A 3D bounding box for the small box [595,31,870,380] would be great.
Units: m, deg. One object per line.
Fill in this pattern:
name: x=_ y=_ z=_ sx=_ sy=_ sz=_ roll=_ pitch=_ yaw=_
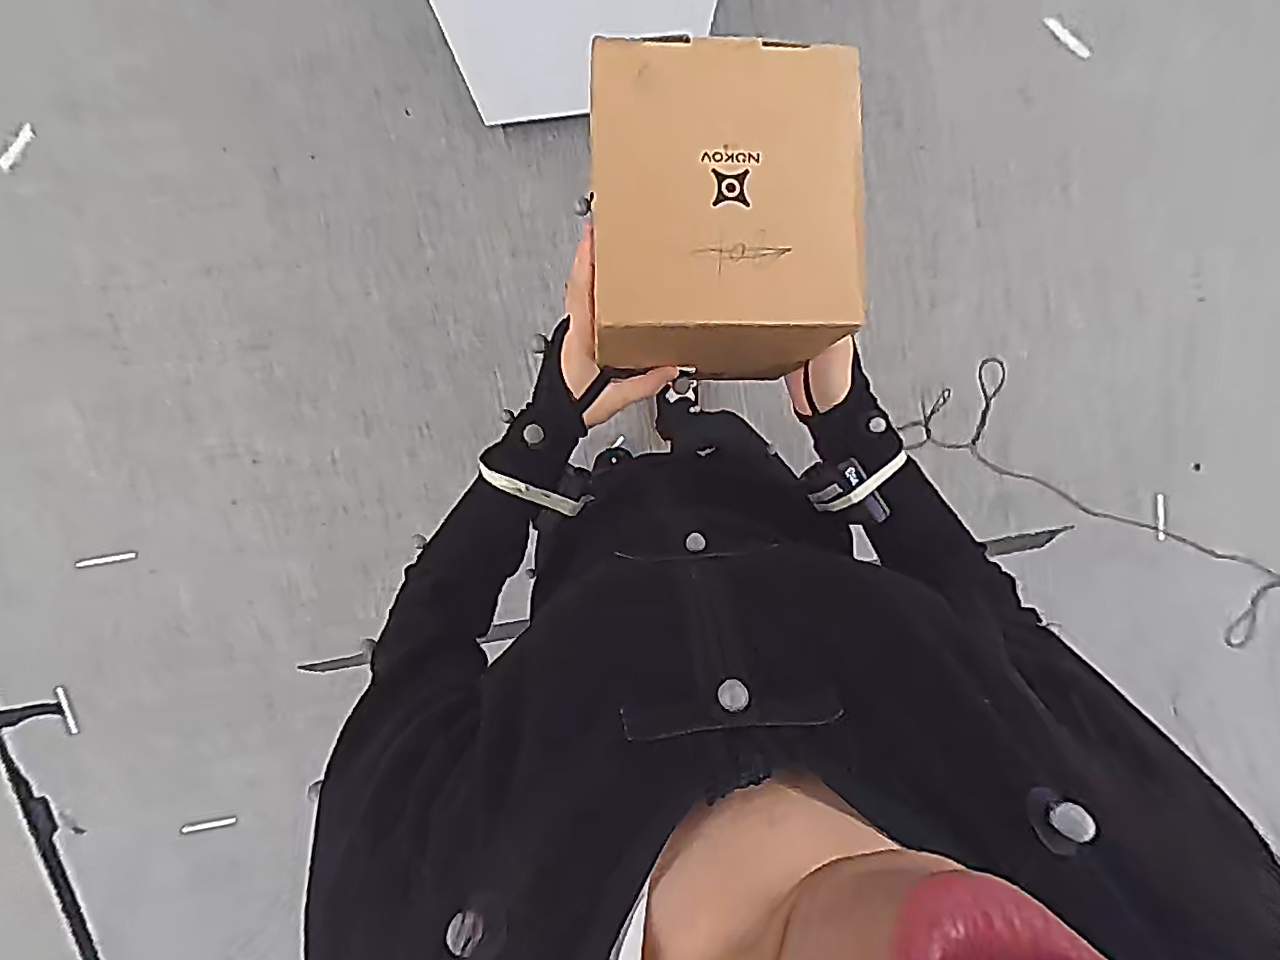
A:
small box: x=0.050 y=-0.179 z=0.403 sx=0.168 sy=0.176 sz=0.179 roll=-2 pitch=90 yaw=-3
